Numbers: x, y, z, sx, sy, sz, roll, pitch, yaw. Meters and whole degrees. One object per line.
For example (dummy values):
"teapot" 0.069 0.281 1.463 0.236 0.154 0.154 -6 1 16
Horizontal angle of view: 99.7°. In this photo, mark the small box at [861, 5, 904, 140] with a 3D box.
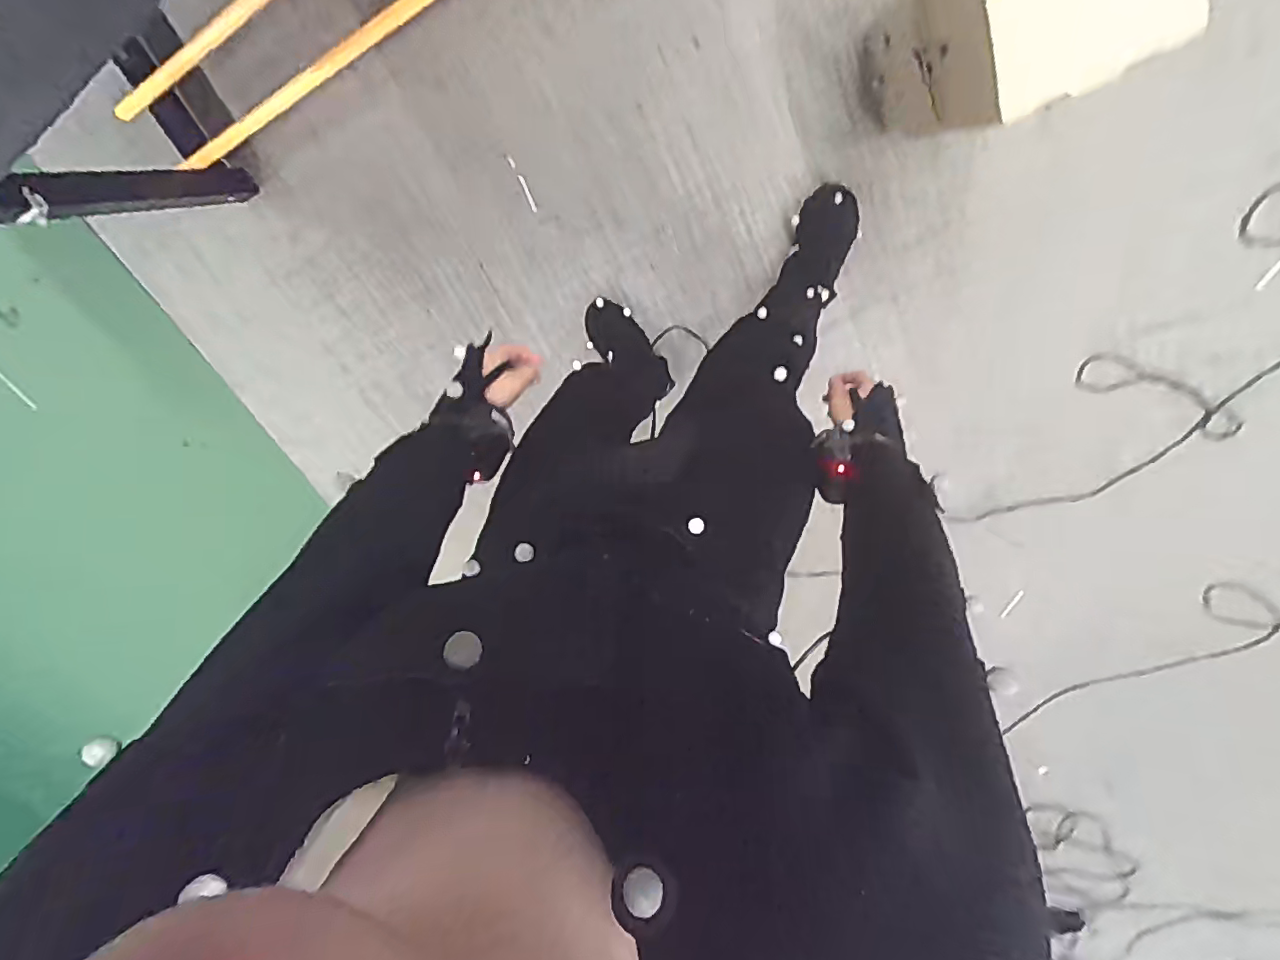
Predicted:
"small box" 0.463 -0.652 0.831 0.179 0.176 0.168 -18 114 18

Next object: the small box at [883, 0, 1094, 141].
"small box" 0.430 -0.564 0.697 0.179 0.176 0.168 -20 115 19
